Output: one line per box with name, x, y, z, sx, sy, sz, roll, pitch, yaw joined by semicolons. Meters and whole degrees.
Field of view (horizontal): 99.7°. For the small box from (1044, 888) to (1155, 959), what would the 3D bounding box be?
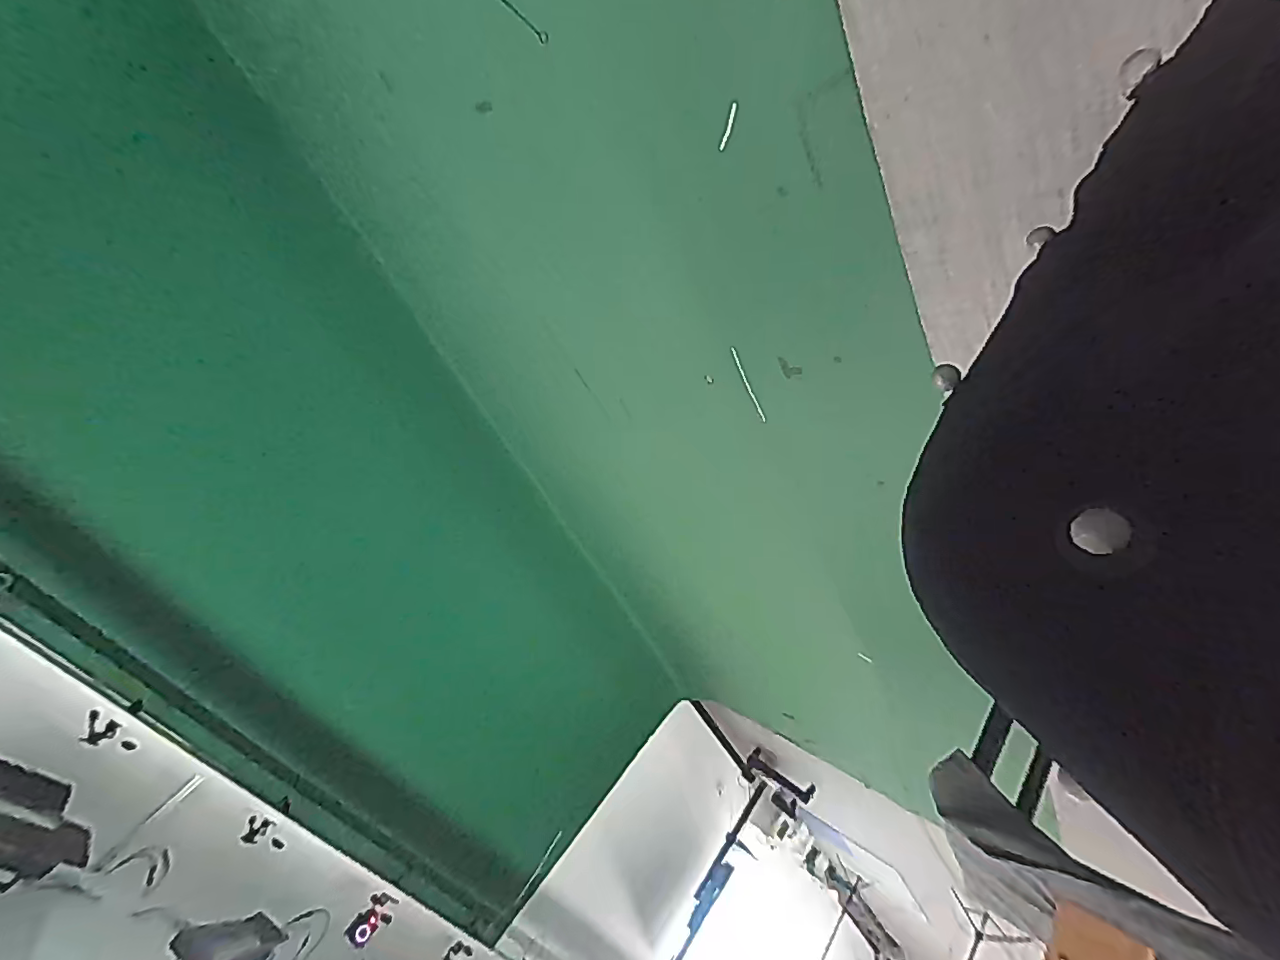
small box;1.115;1.146;1.307;0.179;0.176;0.168;9;138;51
